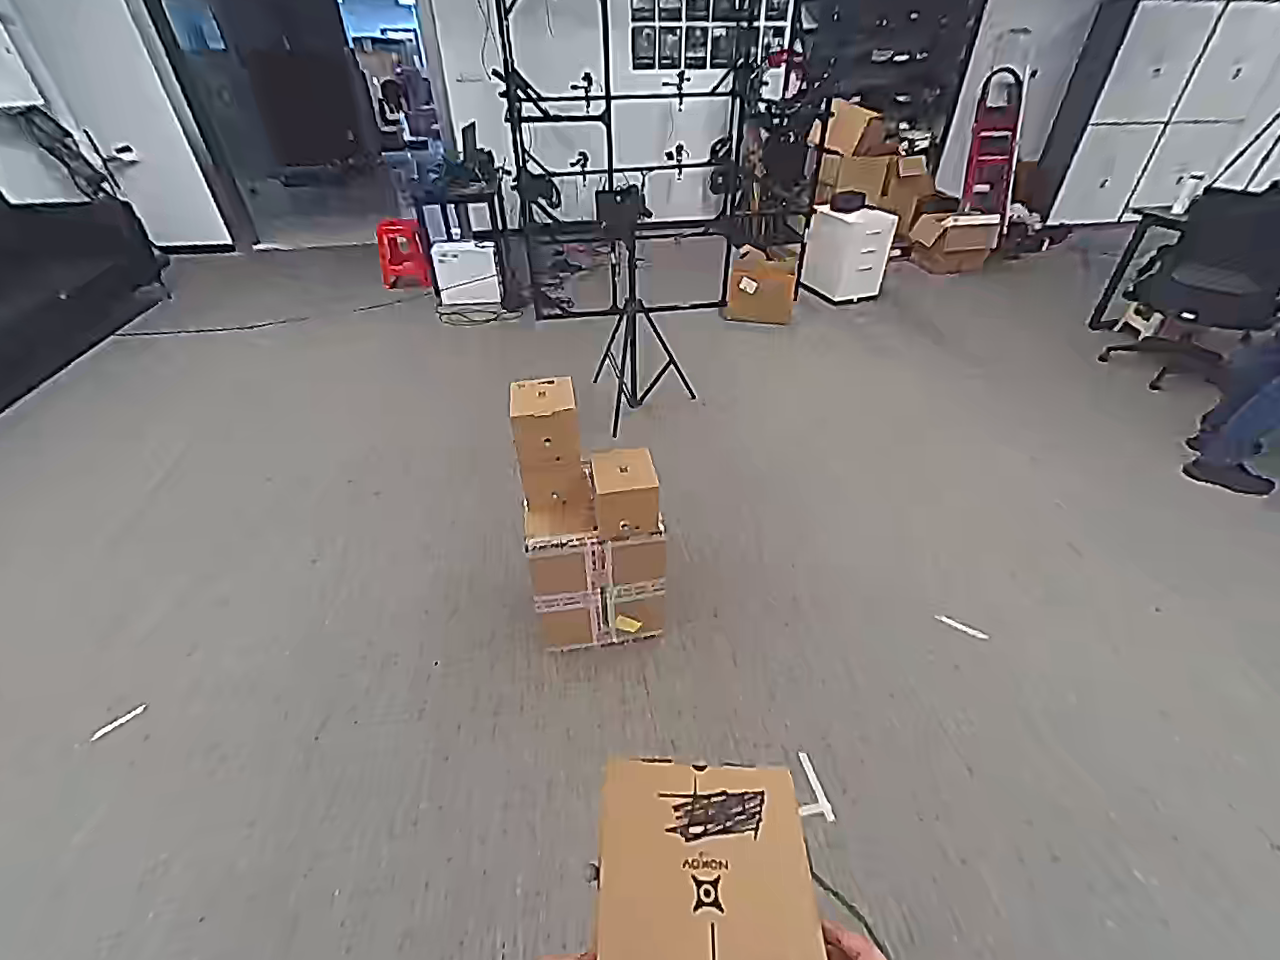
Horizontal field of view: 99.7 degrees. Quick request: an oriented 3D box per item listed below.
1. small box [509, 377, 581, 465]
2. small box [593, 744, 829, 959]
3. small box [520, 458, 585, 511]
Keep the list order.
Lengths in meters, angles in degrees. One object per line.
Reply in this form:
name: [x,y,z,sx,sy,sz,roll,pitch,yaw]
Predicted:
small box: [-0.255,-0.155,1.464,0.168,0.176,0.179,-8,41,-6]
small box: [0.047,0.361,0.477,0.168,0.176,0.179,4,41,-3]
small box: [-0.257,-0.034,1.576,0.168,0.176,0.179,-9,41,-7]
